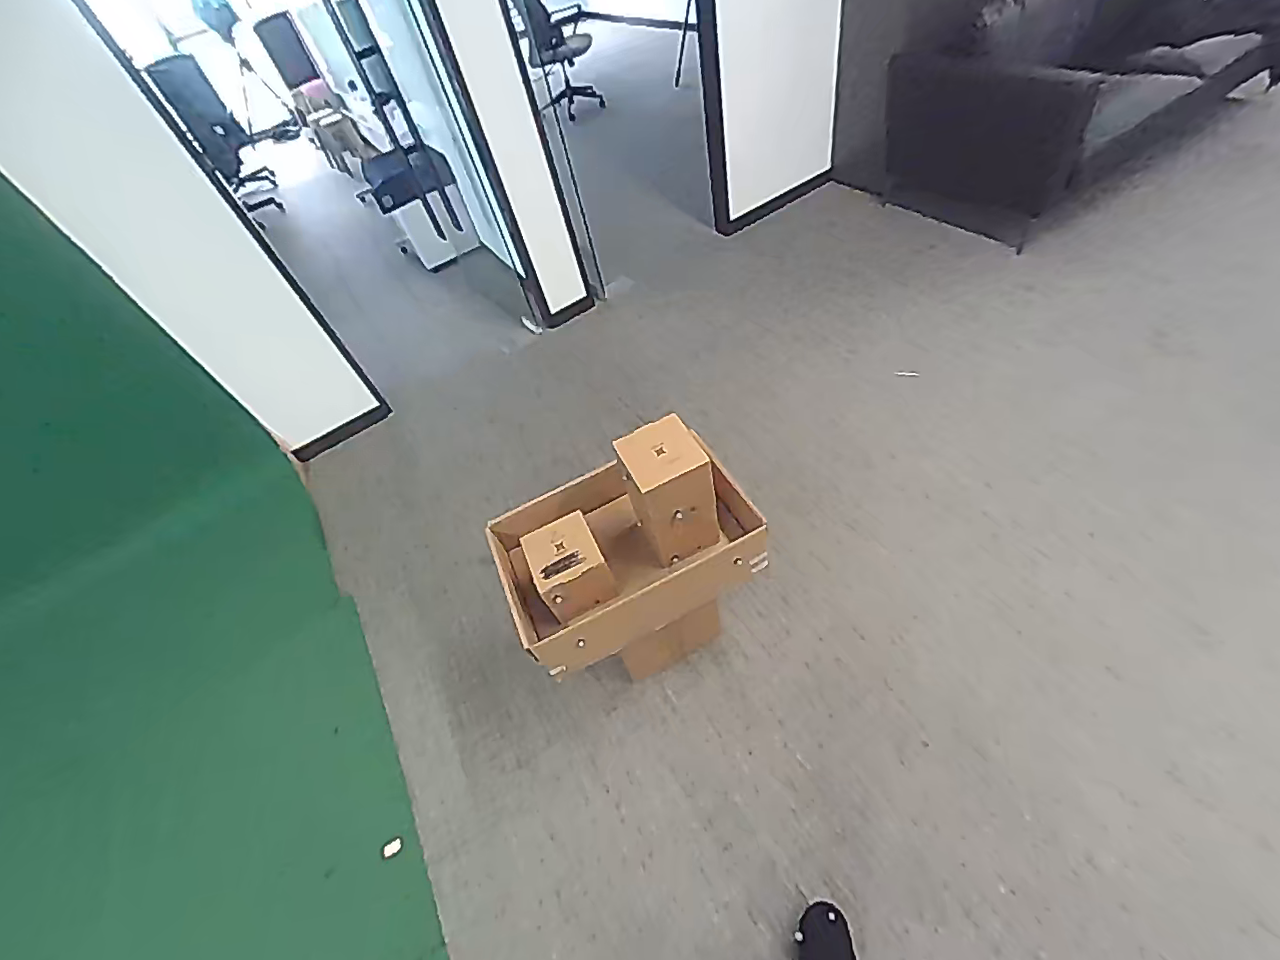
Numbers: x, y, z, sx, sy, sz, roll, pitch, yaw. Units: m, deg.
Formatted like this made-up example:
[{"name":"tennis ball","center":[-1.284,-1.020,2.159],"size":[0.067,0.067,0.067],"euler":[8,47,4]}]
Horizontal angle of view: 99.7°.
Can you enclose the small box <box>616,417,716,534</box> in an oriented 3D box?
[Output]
[{"name":"small box","center":[0.062,-0.007,1.252],"size":[0.168,0.176,0.179],"euler":[-25,50,-7]}]
